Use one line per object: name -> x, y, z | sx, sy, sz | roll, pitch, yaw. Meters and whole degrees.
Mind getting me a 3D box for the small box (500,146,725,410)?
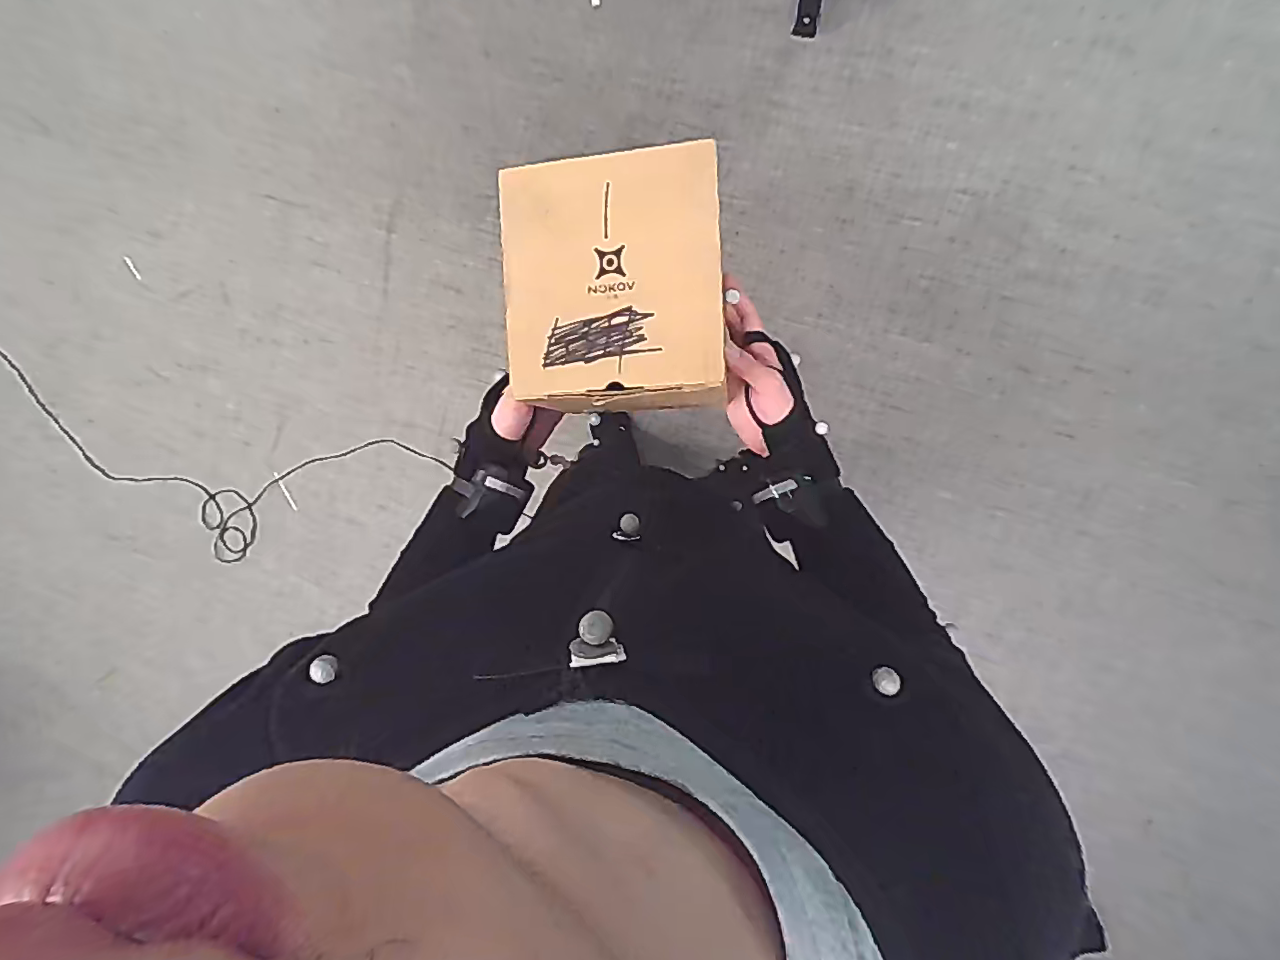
small box -> -0.010, -0.154, 0.479 | 0.168, 0.176, 0.179 | -1, 92, 10
